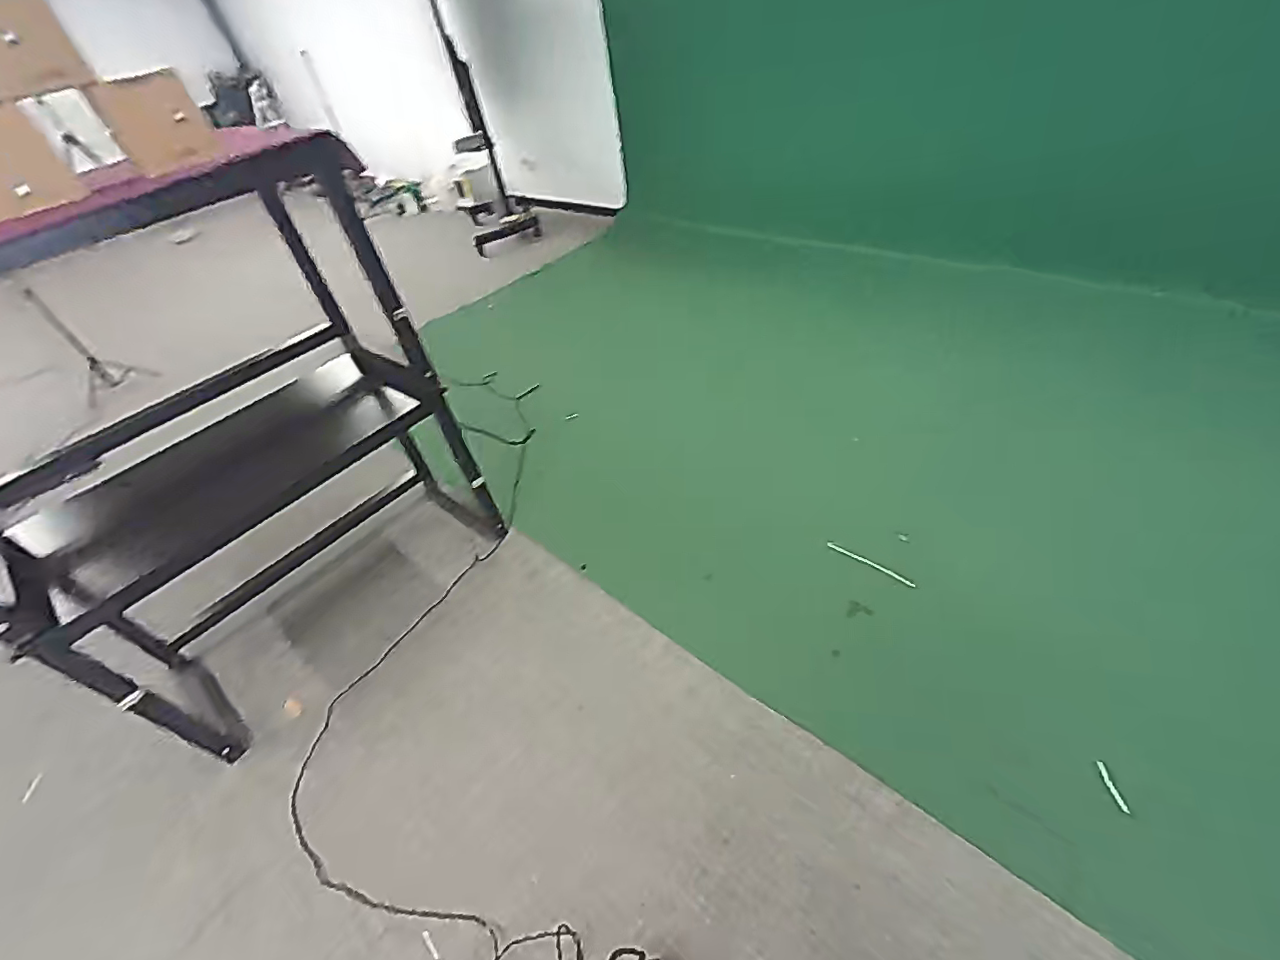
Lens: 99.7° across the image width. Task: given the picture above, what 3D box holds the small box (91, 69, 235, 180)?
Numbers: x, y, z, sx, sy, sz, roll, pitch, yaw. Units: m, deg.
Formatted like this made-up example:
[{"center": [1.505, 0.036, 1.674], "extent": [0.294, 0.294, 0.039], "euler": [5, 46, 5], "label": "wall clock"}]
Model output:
[{"center": [-1.031, -0.770, 1.179], "extent": [0.168, 0.176, 0.179], "euler": [-38, 47, -26], "label": "small box"}]

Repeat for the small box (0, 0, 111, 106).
[{"center": [-1.145, -0.815, 1.007], "extent": [0.168, 0.176, 0.179], "euler": [-38, 48, -27], "label": "small box"}]
